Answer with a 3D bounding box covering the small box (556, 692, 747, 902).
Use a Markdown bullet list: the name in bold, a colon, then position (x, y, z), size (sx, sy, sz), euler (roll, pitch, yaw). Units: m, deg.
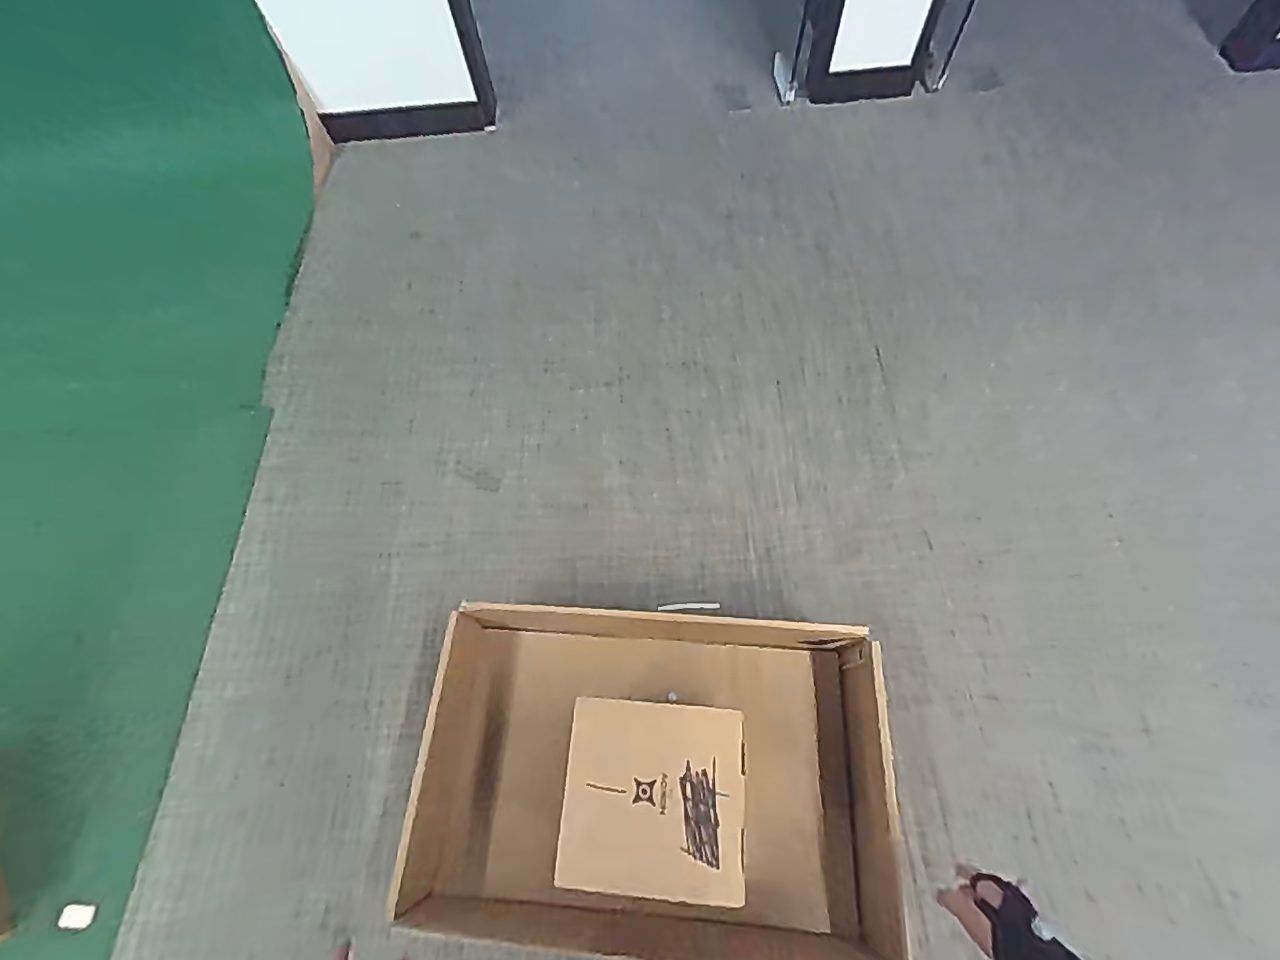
- **small box**: position (0.020, 0.331, 0.594), size (0.179, 0.176, 0.168), euler (3, 66, 5)
